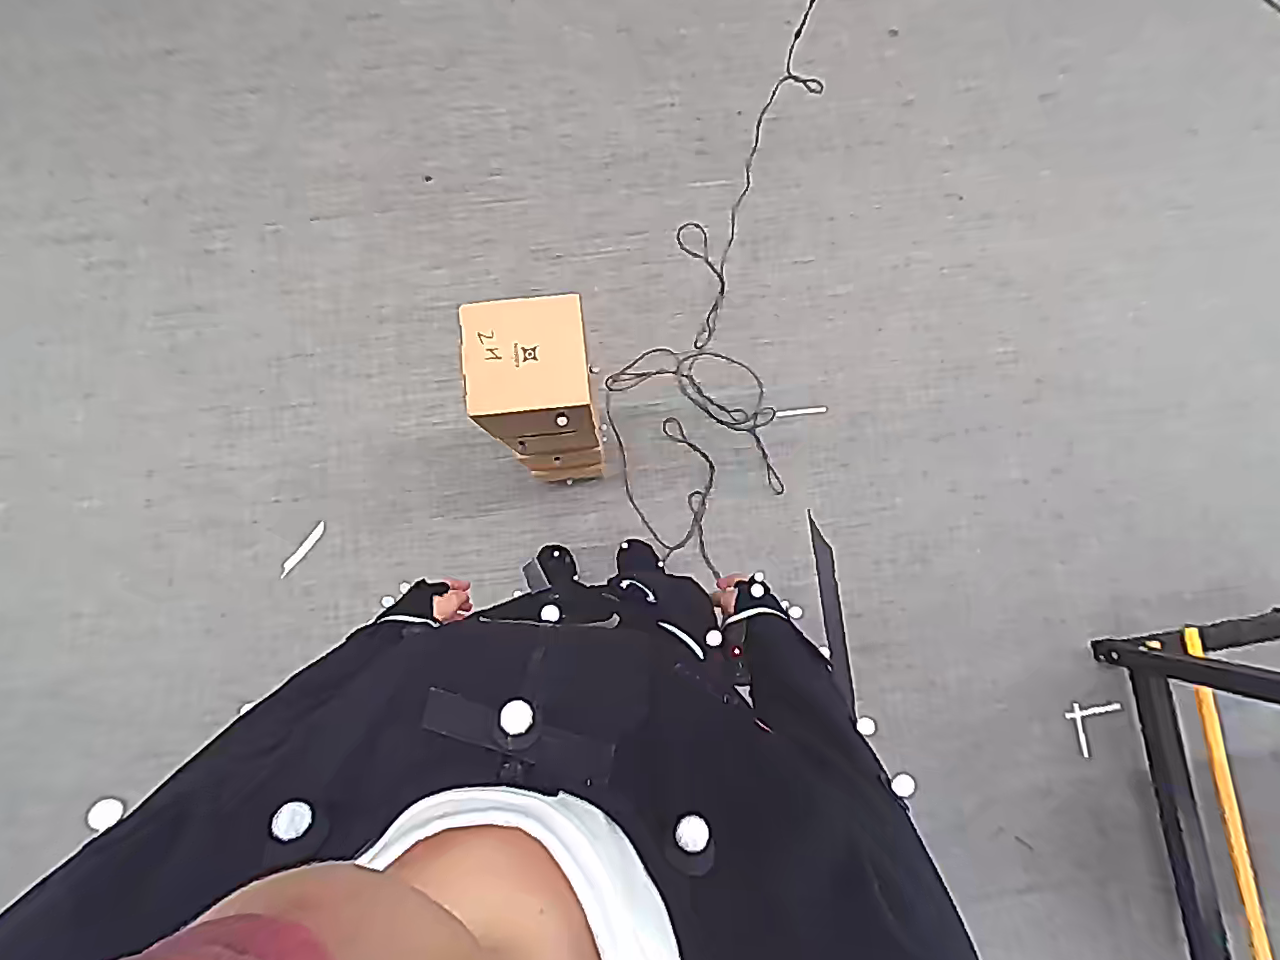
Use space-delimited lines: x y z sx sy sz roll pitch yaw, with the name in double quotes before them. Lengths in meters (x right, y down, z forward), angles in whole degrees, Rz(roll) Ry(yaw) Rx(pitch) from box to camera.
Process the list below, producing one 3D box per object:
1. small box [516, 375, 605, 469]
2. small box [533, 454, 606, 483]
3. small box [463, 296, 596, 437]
"small box" -0.169 -0.121 1.170 0.179 0.176 0.168 -6 84 -1
"small box" -0.174 -0.094 1.330 0.168 0.176 0.179 -6 85 -2
"small box" -0.161 -0.168 0.843 0.179 0.176 0.168 -6 83 -1
